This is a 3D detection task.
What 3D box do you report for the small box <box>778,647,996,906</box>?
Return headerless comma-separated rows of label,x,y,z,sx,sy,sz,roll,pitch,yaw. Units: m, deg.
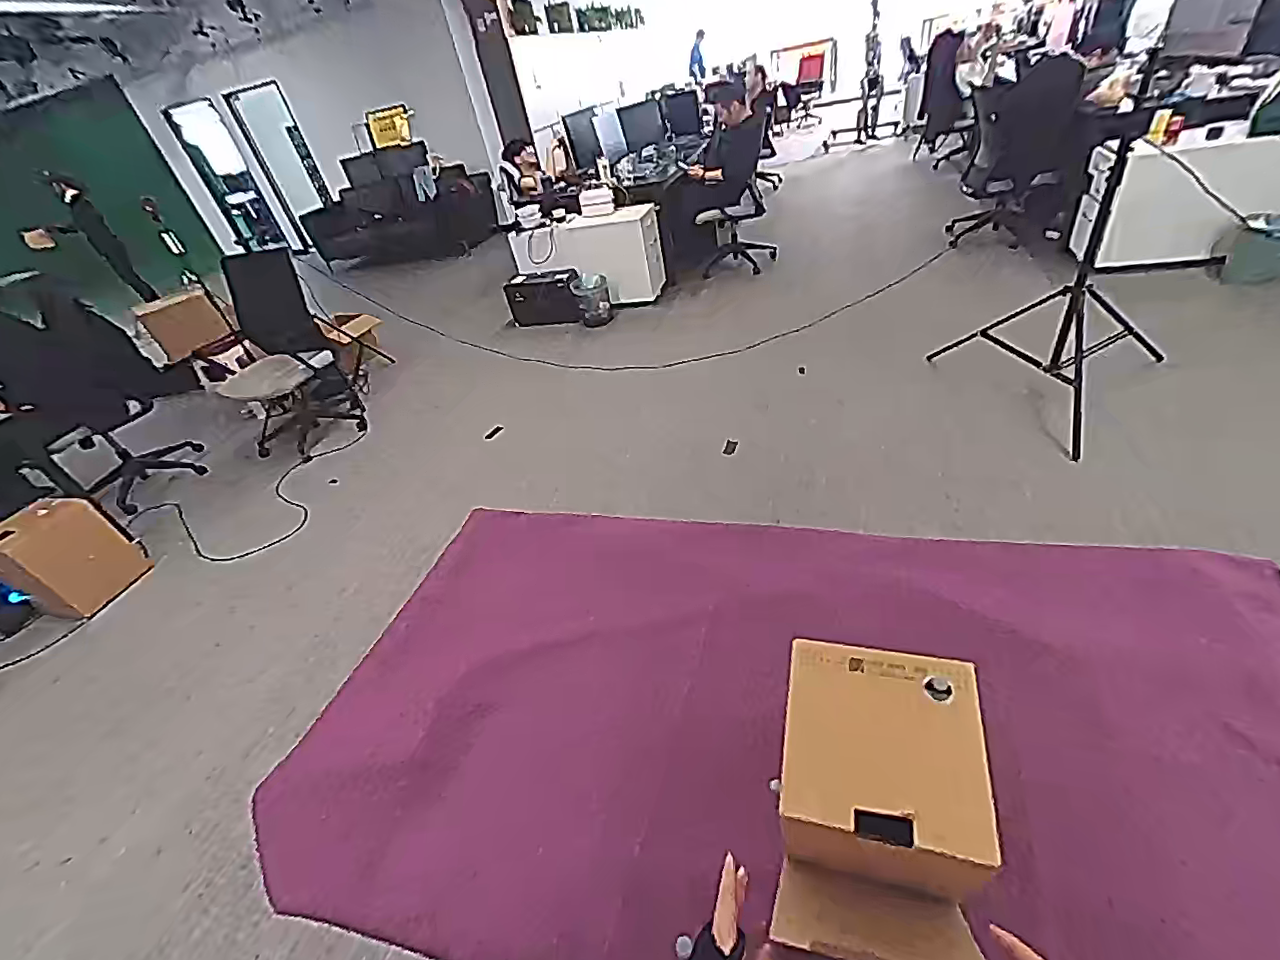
small box,0.229,0.288,0.541,0.168,0.179,0.176,3,47,19
